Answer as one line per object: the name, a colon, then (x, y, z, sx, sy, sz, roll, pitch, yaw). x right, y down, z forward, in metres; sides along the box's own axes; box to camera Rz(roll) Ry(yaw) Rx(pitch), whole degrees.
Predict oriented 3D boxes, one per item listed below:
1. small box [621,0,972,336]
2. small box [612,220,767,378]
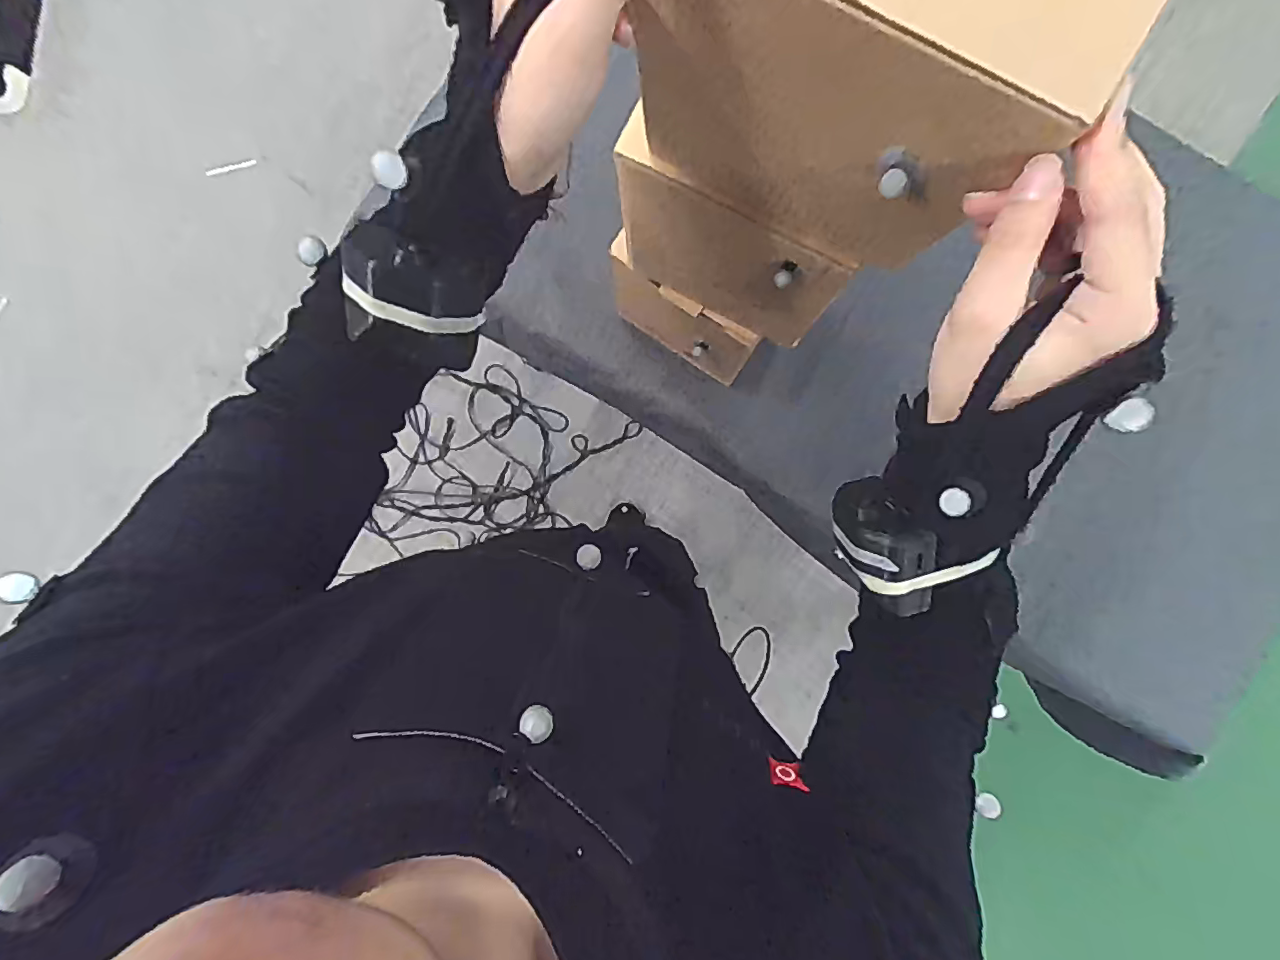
small box: (0.100, -0.237, 0.423, 0.179, 0.176, 0.168, 27, 88, 1)
small box: (0.088, -0.235, 0.586, 0.168, 0.176, 0.179, 34, 87, 2)
